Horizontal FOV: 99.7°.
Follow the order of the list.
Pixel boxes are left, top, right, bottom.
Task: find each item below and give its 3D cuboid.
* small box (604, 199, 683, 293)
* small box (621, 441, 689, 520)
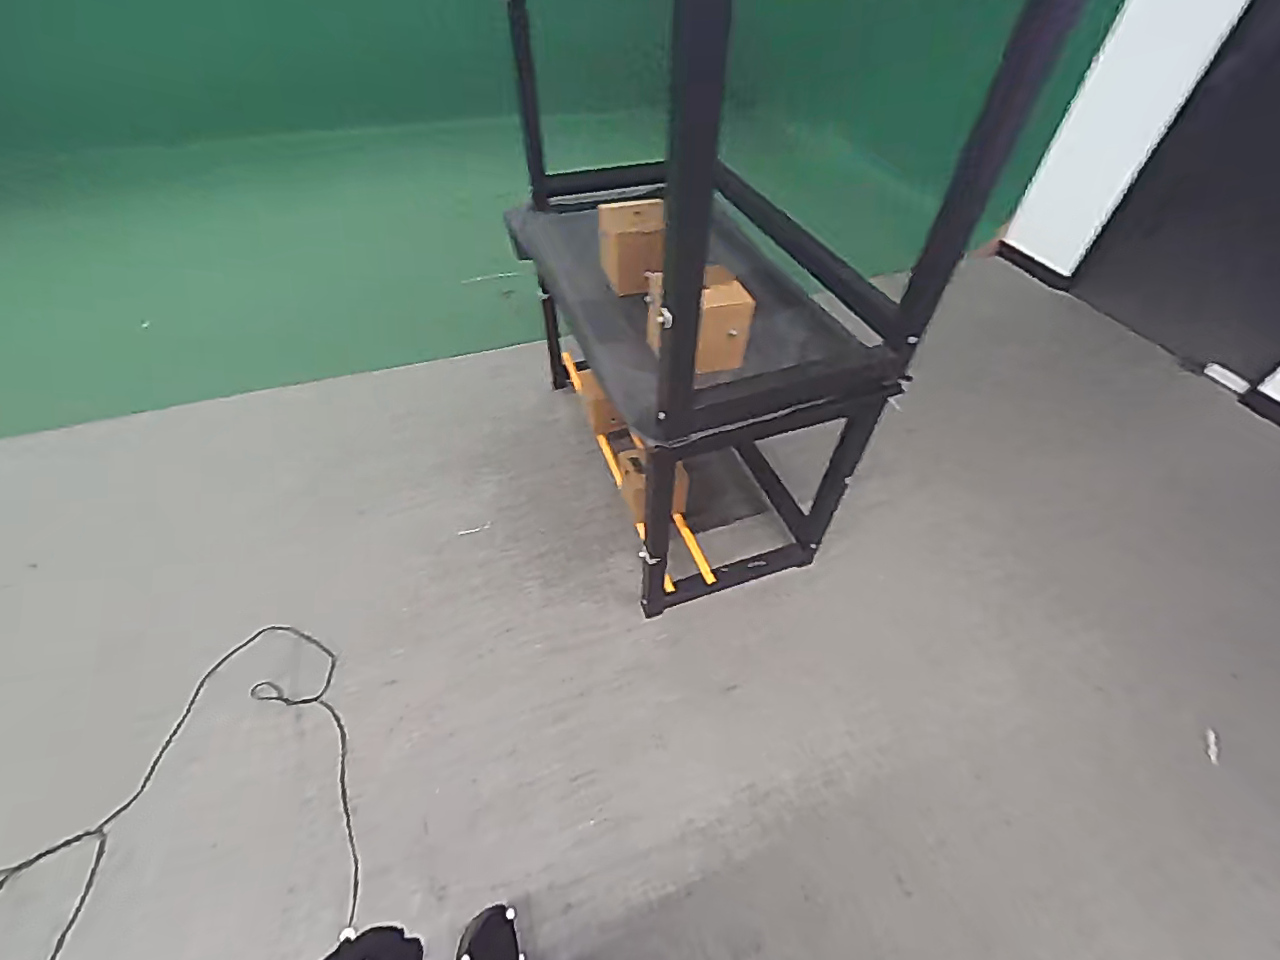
[{"bbox_3d":[0.003,-0.621,1.434,0.168,0.176,0.179,-12,50,-12],"label":"small box"},{"bbox_3d":[0.044,0.005,1.715,0.179,0.176,0.168,-12,50,-11],"label":"small box"}]
